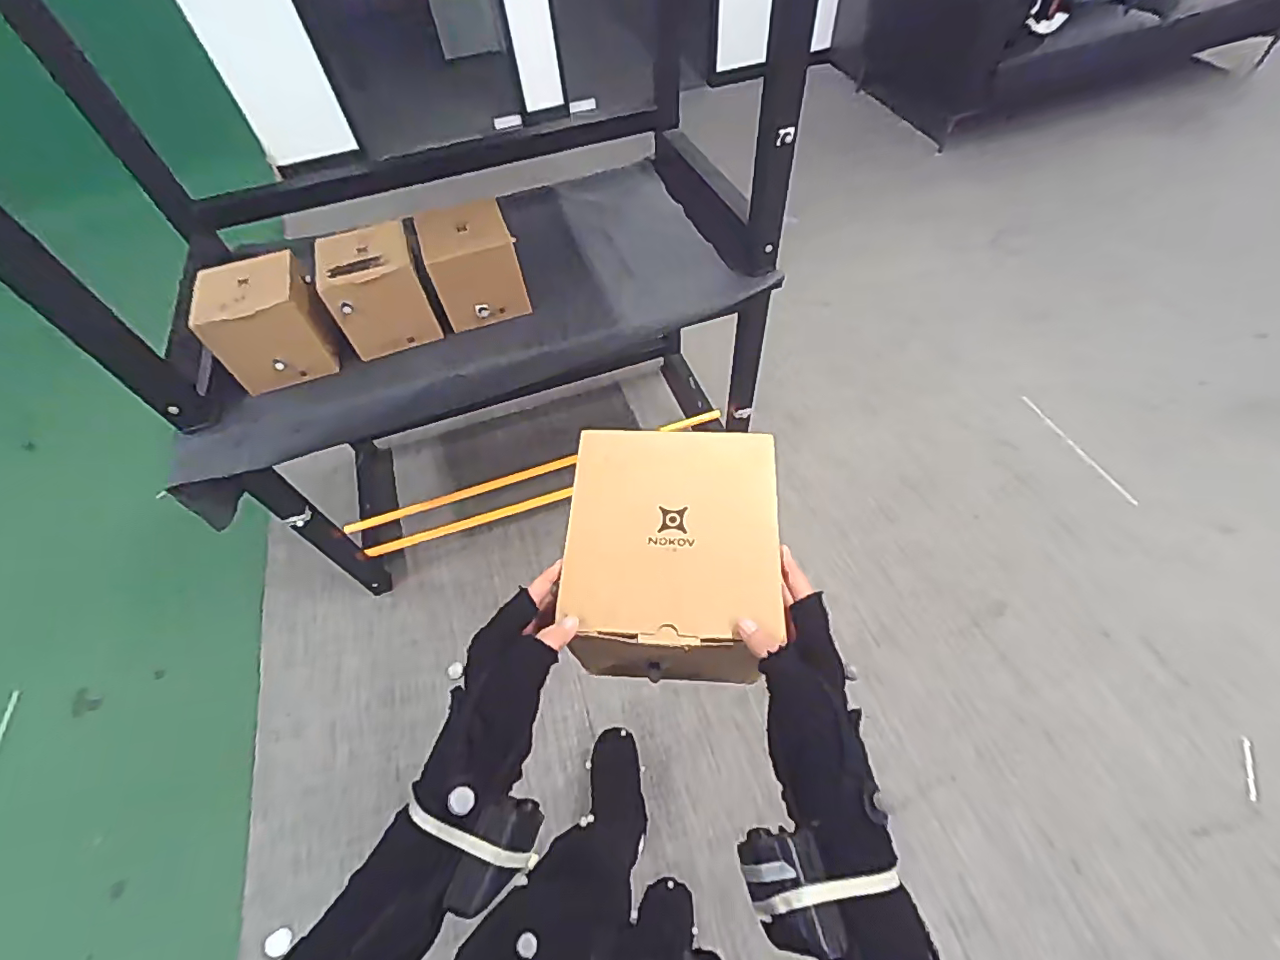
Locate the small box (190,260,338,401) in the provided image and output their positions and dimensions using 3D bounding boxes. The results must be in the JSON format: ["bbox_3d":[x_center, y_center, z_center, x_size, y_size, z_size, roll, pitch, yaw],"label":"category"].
[{"bbox_3d":[-0.698,-0.281,1.025,0.168,0.176,0.179,-19,56,-9],"label":"small box"}]
